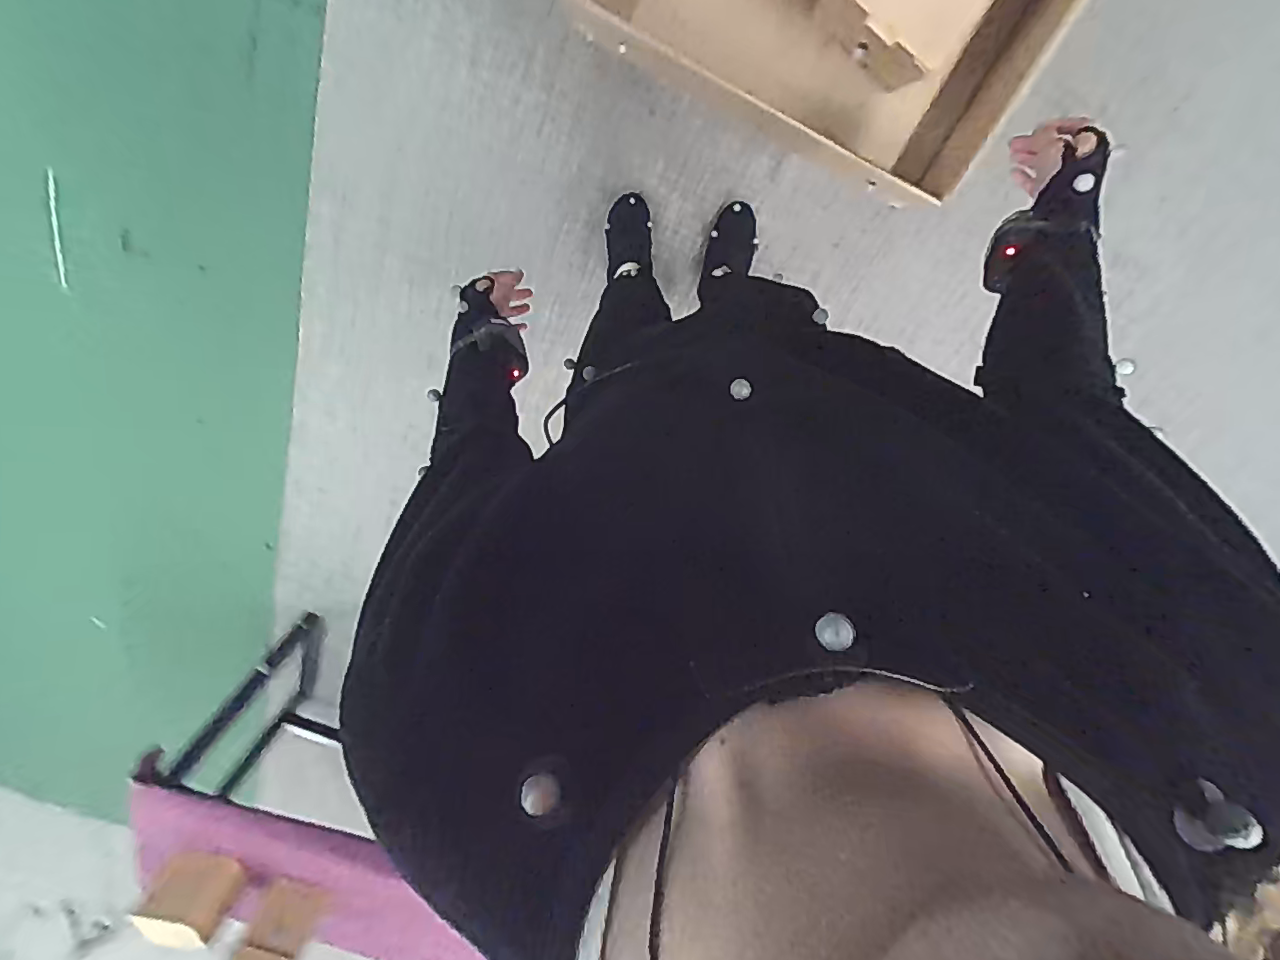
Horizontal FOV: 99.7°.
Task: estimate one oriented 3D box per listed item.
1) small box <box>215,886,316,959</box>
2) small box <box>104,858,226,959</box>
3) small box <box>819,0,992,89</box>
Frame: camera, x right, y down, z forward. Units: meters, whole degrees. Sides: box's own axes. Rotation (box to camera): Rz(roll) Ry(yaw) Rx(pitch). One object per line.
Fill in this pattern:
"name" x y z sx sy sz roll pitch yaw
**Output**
"small box" -1.056 1.288 1.524 0.179 0.176 0.168 28 117 -9
"small box" -1.283 1.172 1.483 0.179 0.176 0.168 7 119 2
"small box" 0.348 -0.635 0.681 0.168 0.176 0.179 34 117 -13
